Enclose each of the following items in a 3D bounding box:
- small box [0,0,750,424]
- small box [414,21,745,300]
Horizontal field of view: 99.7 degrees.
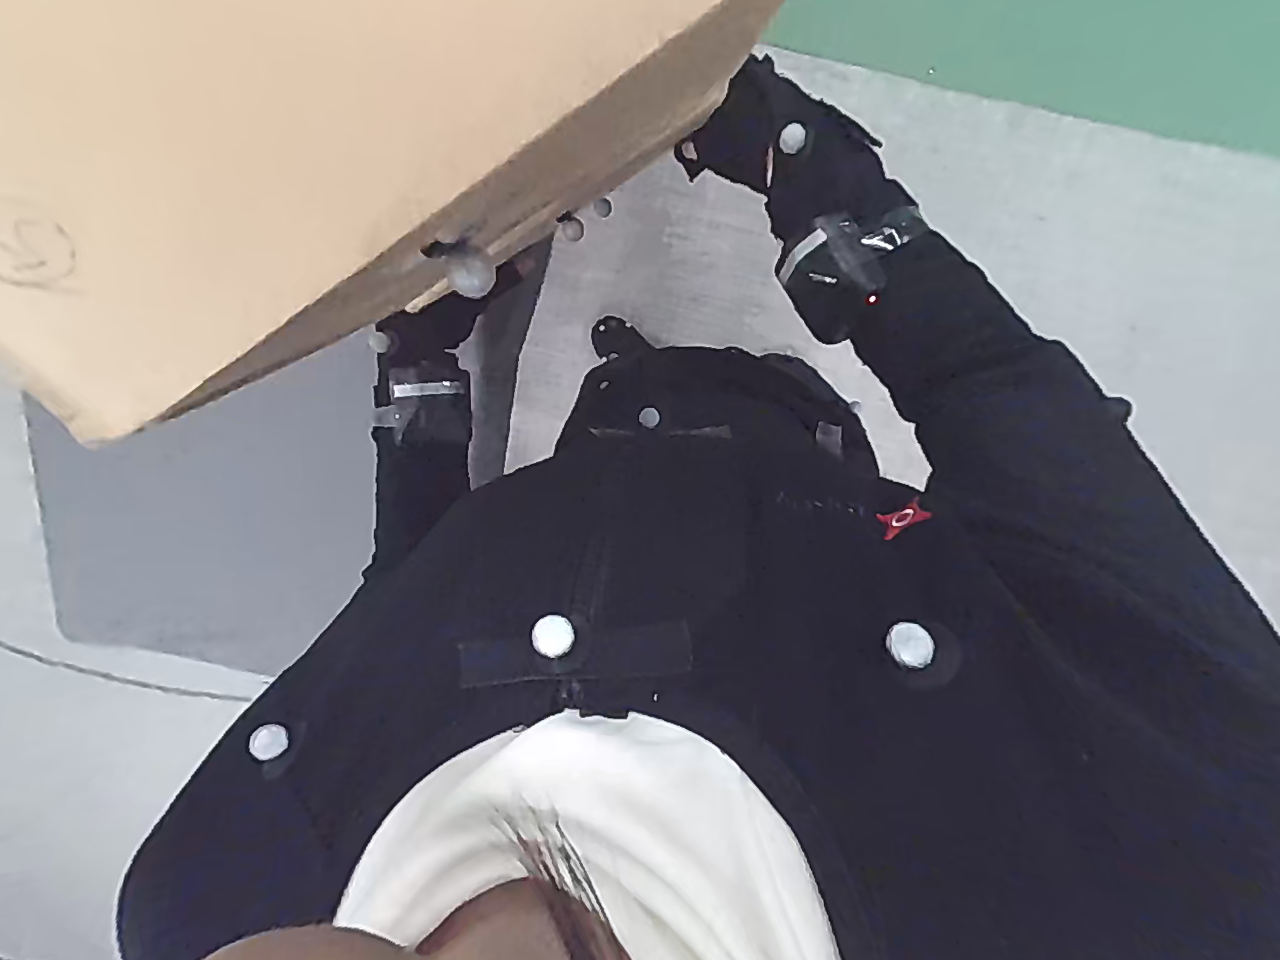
[{"bbox_3d":[-0.081,-0.147,0.132,0.179,0.176,0.168,-25,117,16],"label":"small box"},{"bbox_3d":[-0.071,-0.225,0.274,0.179,0.176,0.168,-29,115,17],"label":"small box"}]
